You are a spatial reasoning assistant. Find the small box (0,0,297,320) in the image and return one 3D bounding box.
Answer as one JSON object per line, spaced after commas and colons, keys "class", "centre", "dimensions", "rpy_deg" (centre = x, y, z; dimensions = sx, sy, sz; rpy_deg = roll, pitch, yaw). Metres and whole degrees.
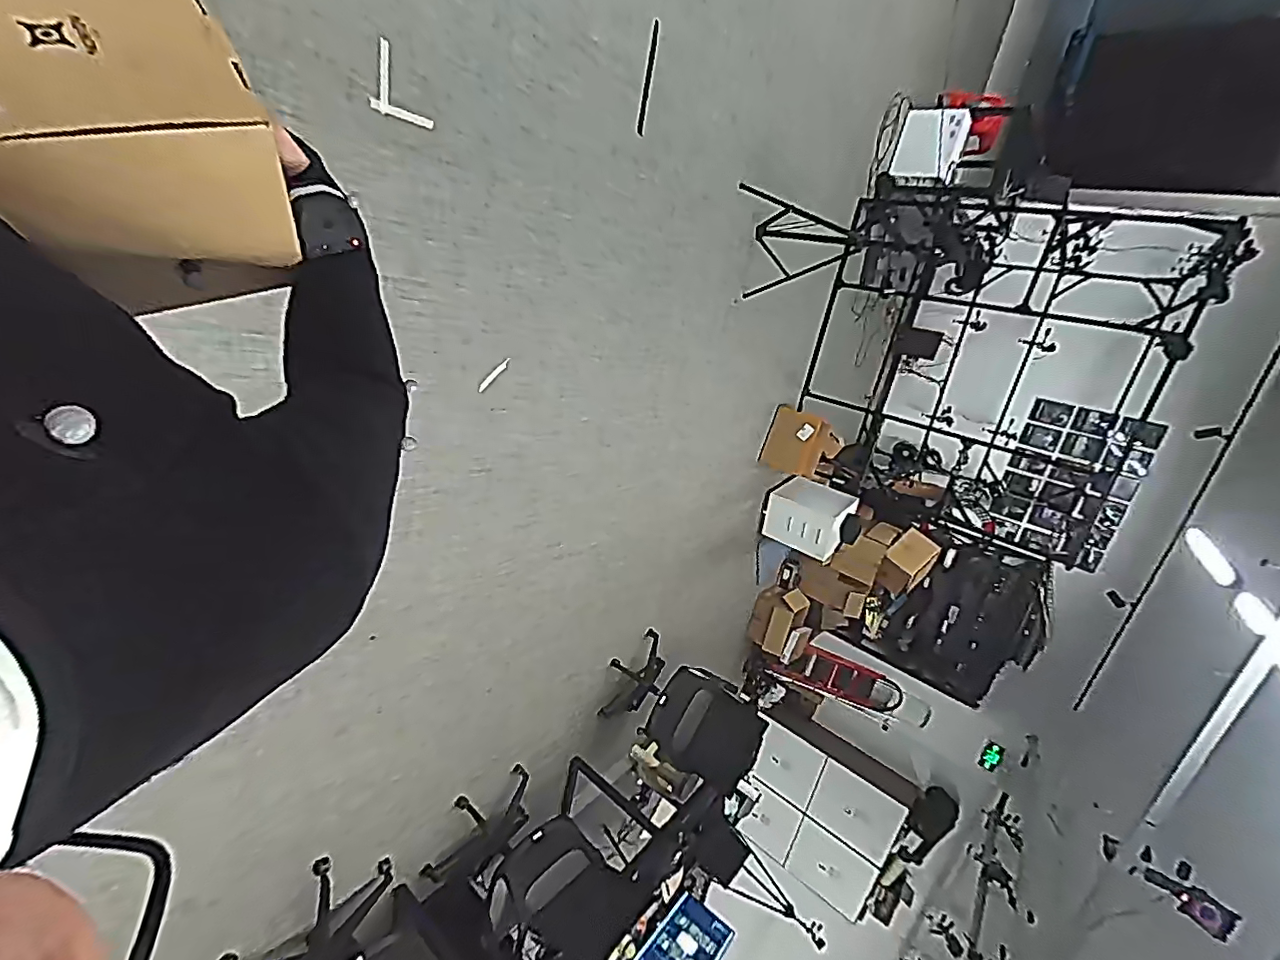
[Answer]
{"class": "small box", "centre": [-0.407, -0.260, 0.439], "dimensions": [0.179, 0.168, 0.176], "rpy_deg": [-28, 170, -31]}
